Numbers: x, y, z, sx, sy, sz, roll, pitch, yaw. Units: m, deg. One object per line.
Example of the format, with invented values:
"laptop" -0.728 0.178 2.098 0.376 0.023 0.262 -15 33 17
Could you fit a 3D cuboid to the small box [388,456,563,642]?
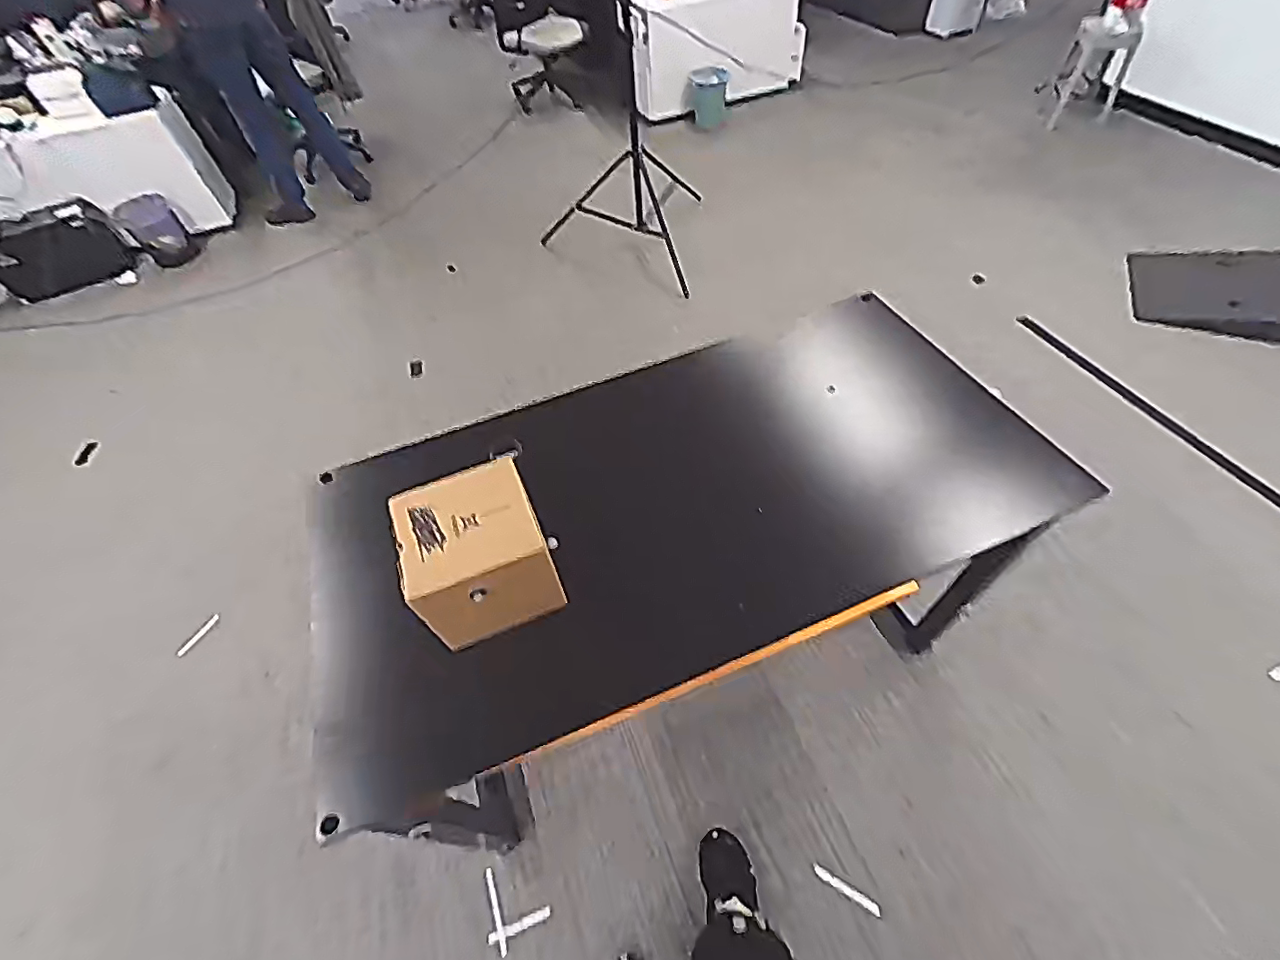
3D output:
"small box" -0.225 0.101 0.760 0.179 0.176 0.168 -21 54 -11
